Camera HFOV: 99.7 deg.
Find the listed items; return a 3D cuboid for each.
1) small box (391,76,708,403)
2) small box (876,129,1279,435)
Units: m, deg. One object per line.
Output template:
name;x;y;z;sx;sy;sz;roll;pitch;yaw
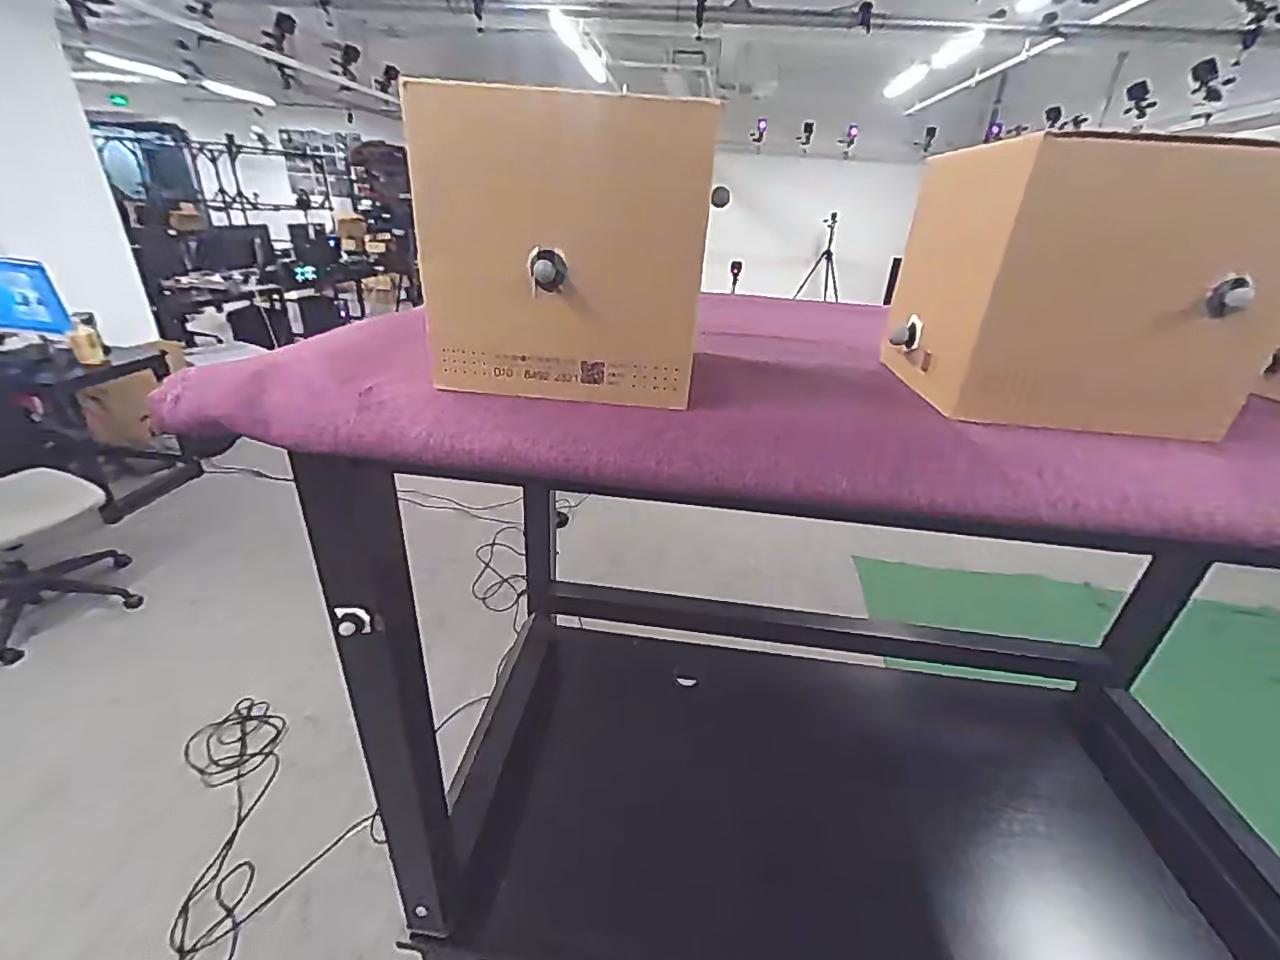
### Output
small box;-0.044;-0.162;0.381;0.168;0.176;0.179;6;28;2
small box;0.298;-0.140;0.388;0.179;0.176;0.168;4;27;3
